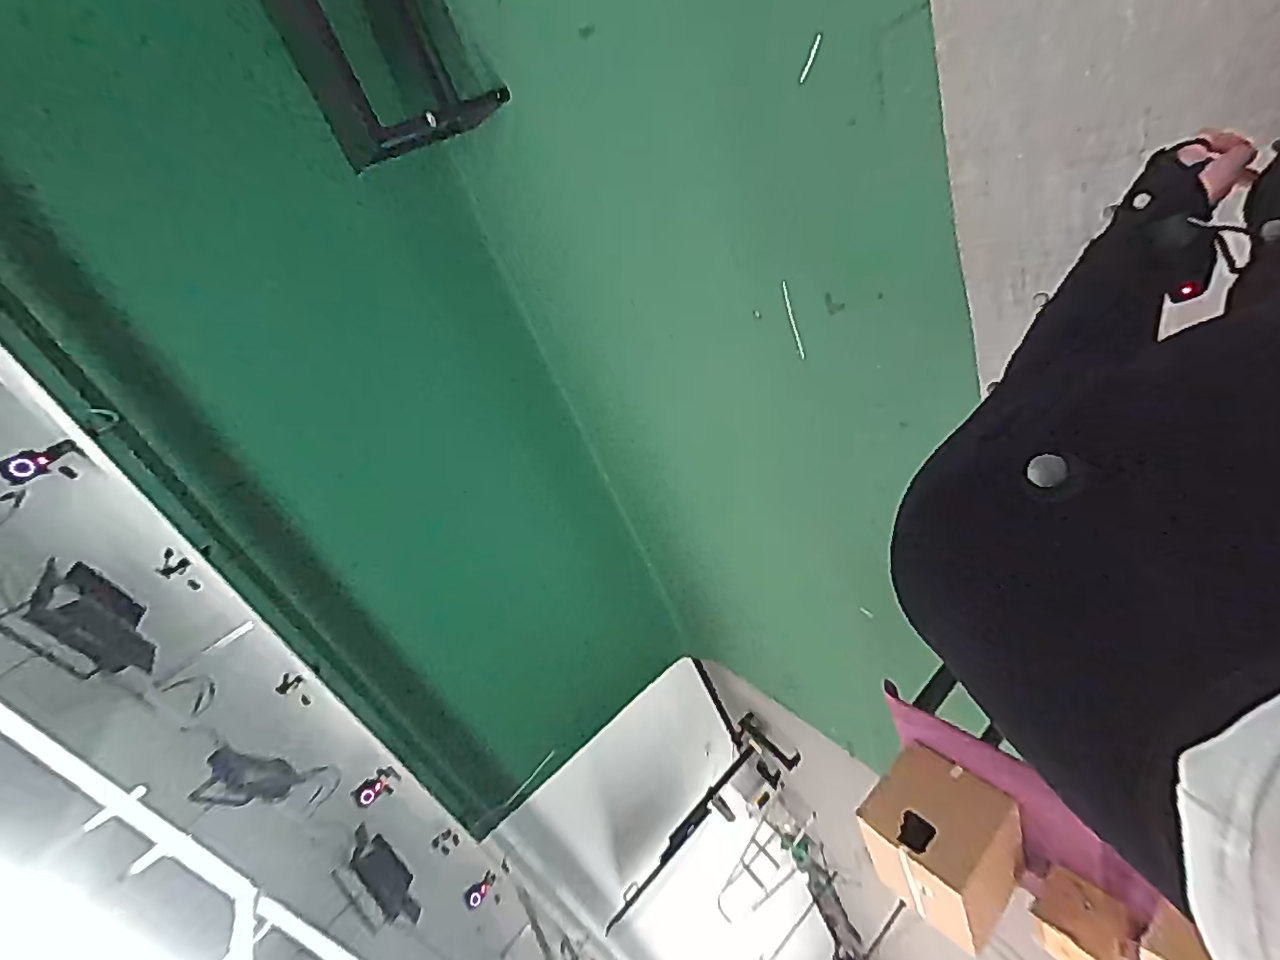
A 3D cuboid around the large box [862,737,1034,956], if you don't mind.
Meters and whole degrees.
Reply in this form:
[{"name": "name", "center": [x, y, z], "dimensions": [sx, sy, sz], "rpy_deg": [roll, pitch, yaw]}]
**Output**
[{"name": "large box", "center": [0.930, 1.080, 1.624], "dimensions": [0.320, 0.320, 0.408], "rpy_deg": [16, 137, 54]}]
